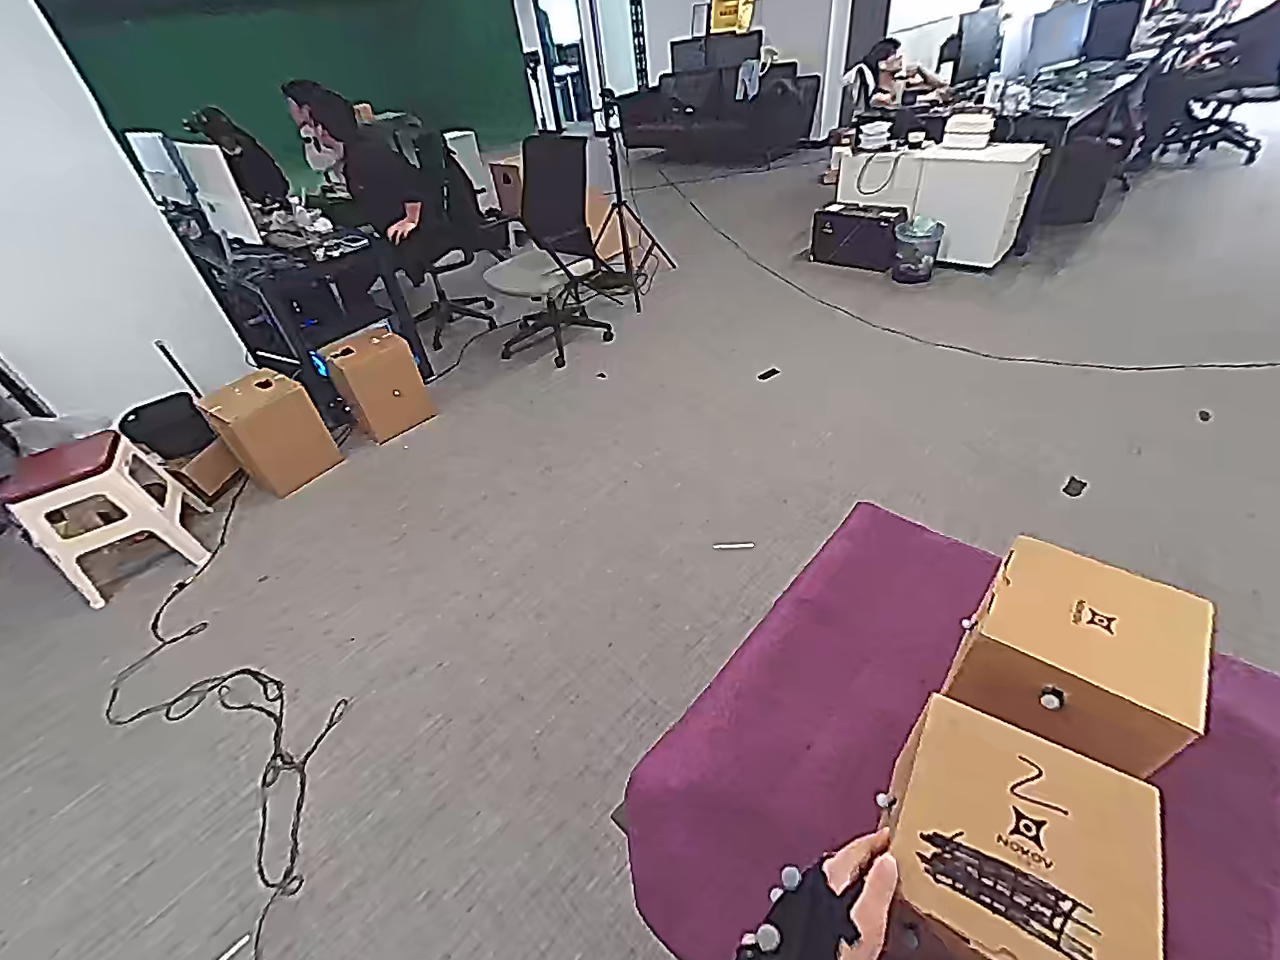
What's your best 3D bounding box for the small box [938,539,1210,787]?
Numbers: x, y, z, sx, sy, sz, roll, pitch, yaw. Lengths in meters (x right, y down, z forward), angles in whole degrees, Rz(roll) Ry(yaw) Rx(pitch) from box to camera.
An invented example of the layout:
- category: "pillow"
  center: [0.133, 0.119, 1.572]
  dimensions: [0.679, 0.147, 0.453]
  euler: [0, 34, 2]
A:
- category: "small box"
  center: [0.466, 0.204, 0.600]
  dimensions: [0.179, 0.176, 0.168]
  euler: [25, 50, 32]
